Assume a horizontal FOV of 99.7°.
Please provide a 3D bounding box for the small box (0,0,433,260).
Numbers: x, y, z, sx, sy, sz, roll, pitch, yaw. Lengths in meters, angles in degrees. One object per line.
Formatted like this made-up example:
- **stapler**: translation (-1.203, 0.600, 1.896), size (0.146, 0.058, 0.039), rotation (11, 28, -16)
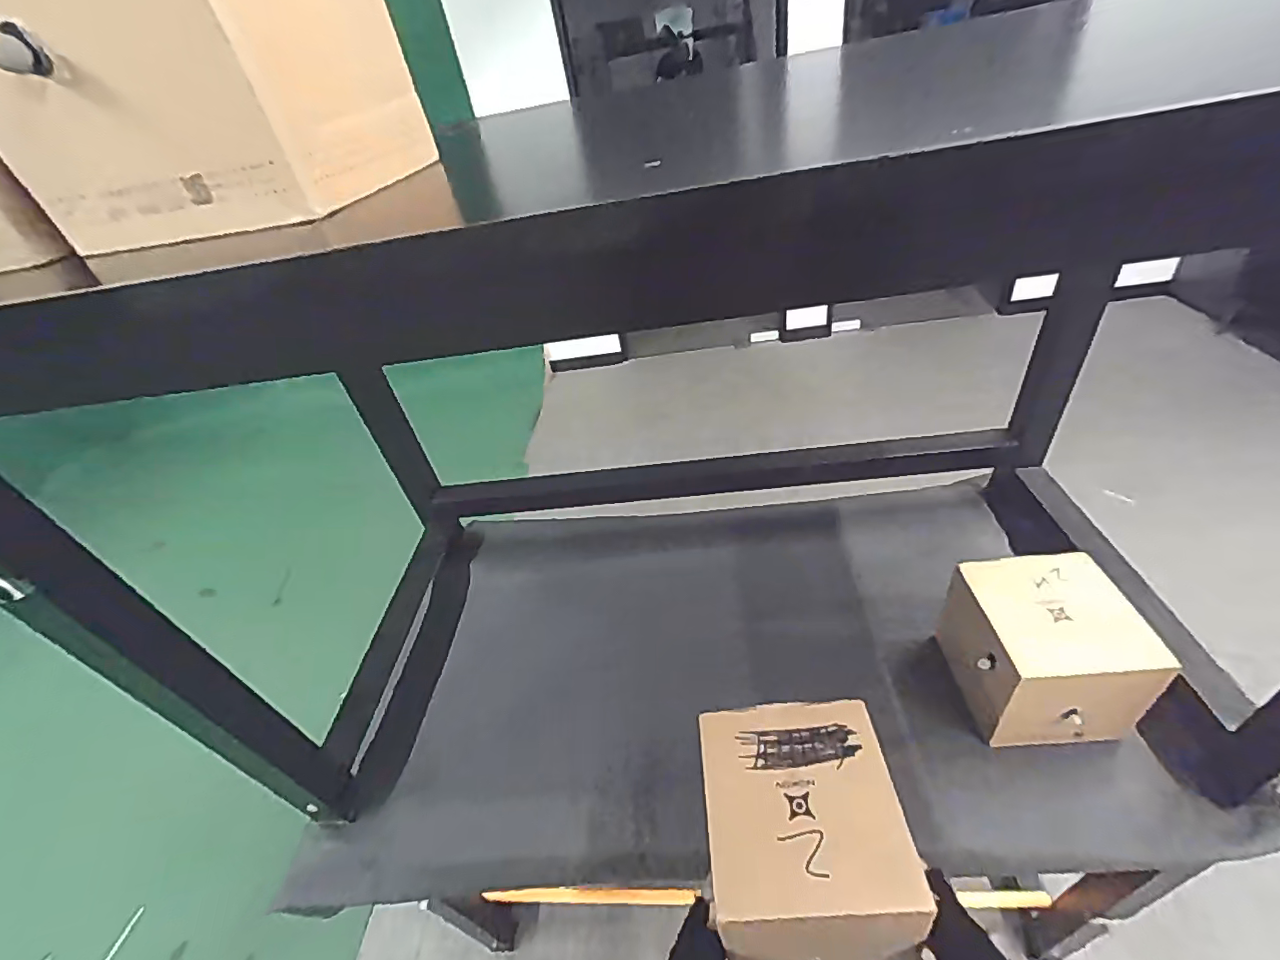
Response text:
- **small box**: translation (-0.255, -0.244, 0.328), size (0.168, 0.176, 0.179), rotation (-3, 39, 11)

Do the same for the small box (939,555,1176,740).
- **small box**: translation (0.525, 0.225, 0.714), size (0.168, 0.176, 0.179), rotation (-7, 38, 6)
